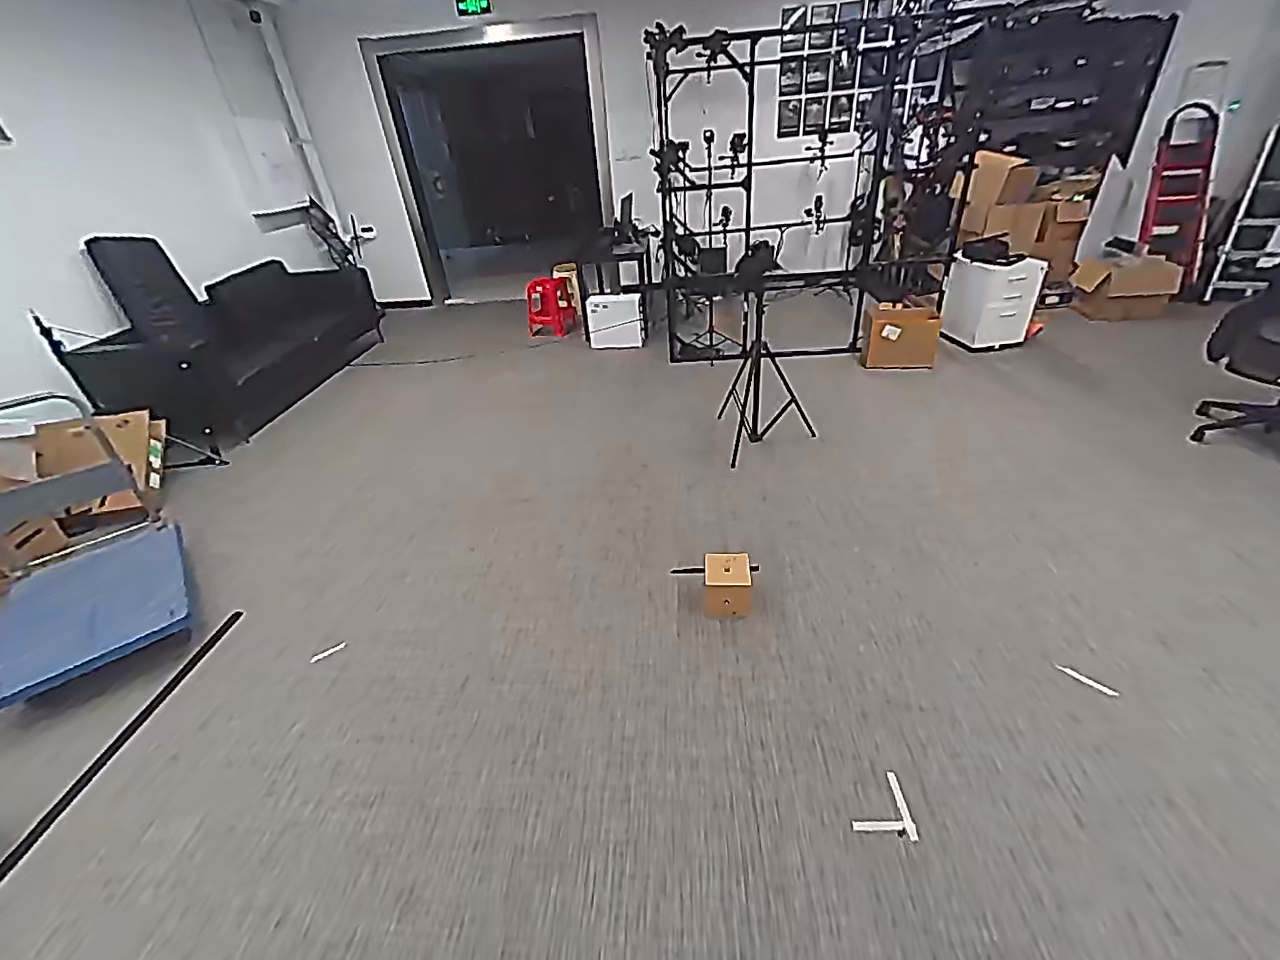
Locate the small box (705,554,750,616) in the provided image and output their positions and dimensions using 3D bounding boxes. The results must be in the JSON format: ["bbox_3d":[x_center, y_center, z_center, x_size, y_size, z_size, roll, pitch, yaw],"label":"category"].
[{"bbox_3d":[0.332,0.400,2.061,0.168,0.176,0.179,-1,32,7],"label":"small box"}]
